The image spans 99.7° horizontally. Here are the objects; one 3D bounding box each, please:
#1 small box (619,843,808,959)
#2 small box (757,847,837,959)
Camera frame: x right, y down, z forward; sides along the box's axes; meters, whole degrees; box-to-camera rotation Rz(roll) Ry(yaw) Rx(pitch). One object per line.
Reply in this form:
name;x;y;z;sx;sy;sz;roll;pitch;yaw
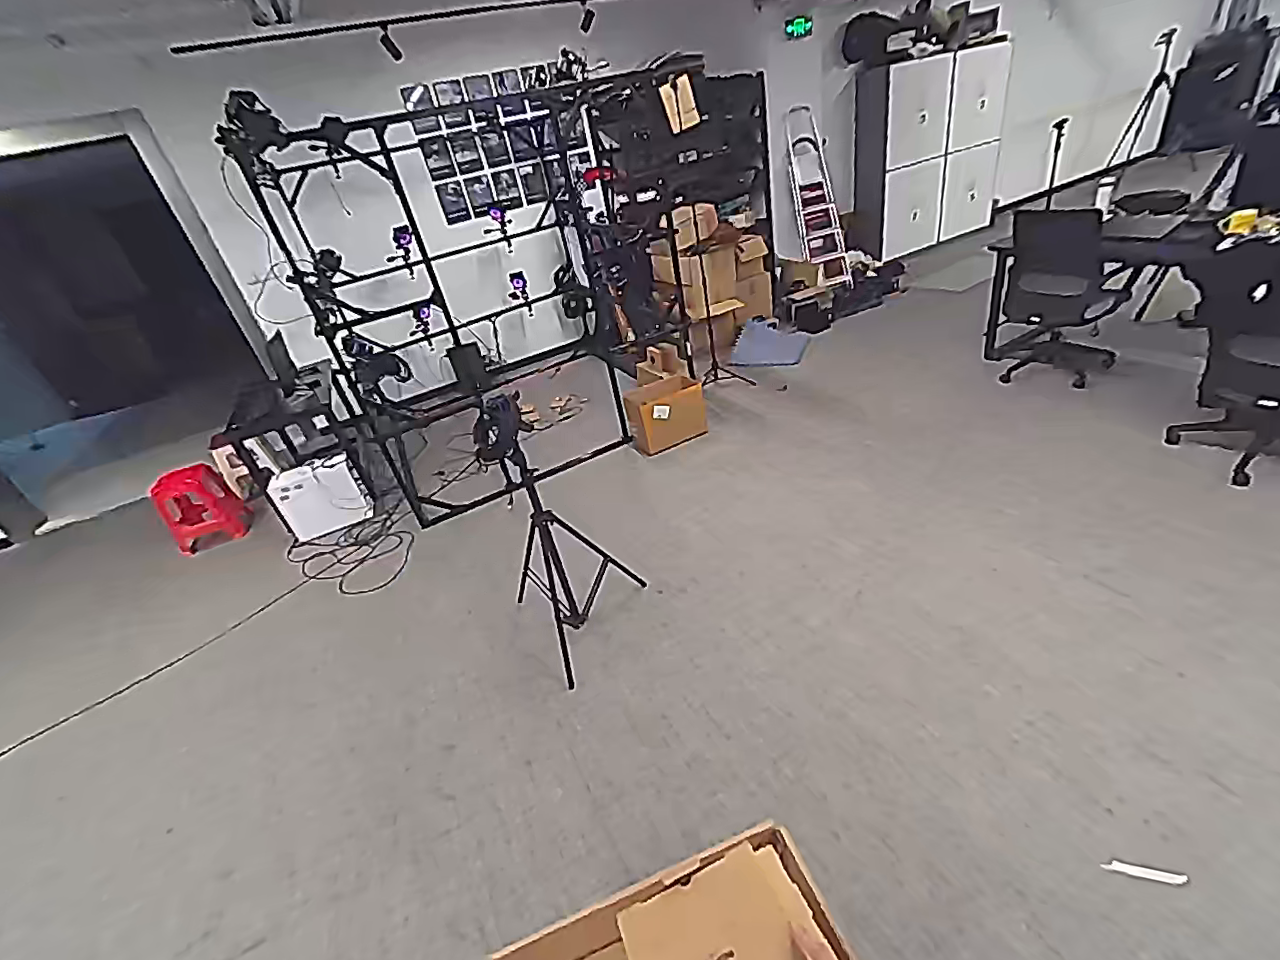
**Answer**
small box;0.092;0.540;0.581;0.168;0.176;0.179;-23;45;-11
small box;0.173;0.697;0.791;0.179;0.176;0.168;-22;32;-12
